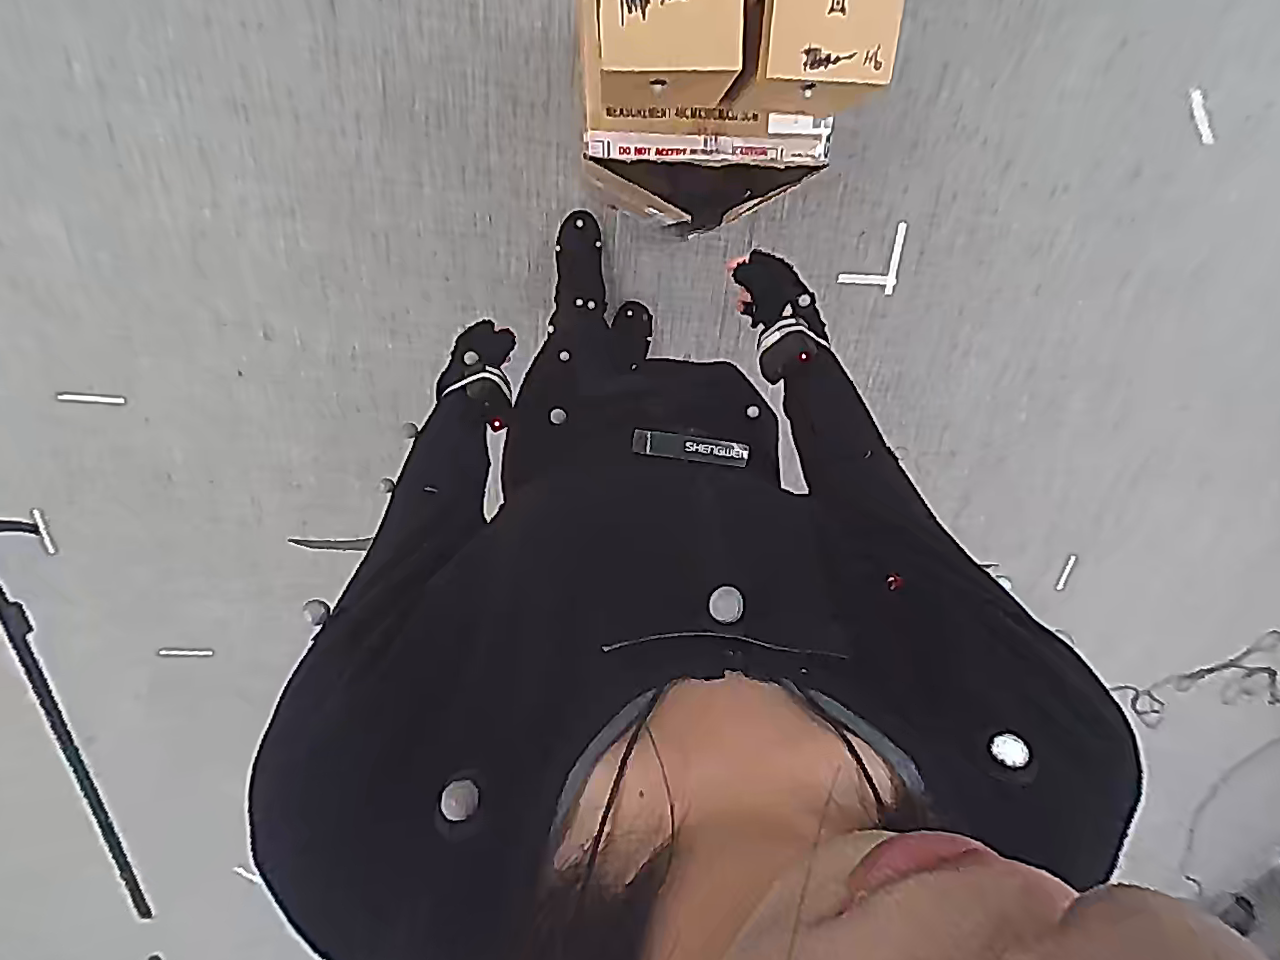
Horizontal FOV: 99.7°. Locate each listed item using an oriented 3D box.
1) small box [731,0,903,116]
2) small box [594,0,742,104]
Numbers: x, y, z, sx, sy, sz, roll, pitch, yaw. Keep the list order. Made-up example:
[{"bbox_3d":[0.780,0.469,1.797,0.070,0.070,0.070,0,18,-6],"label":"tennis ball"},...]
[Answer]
[{"bbox_3d":[0.226,-0.610,0.715,0.168,0.176,0.179,-1,112,-7],"label":"small box"},{"bbox_3d":[0.028,-0.603,0.697,0.179,0.176,0.168,-3,112,-3],"label":"small box"}]
